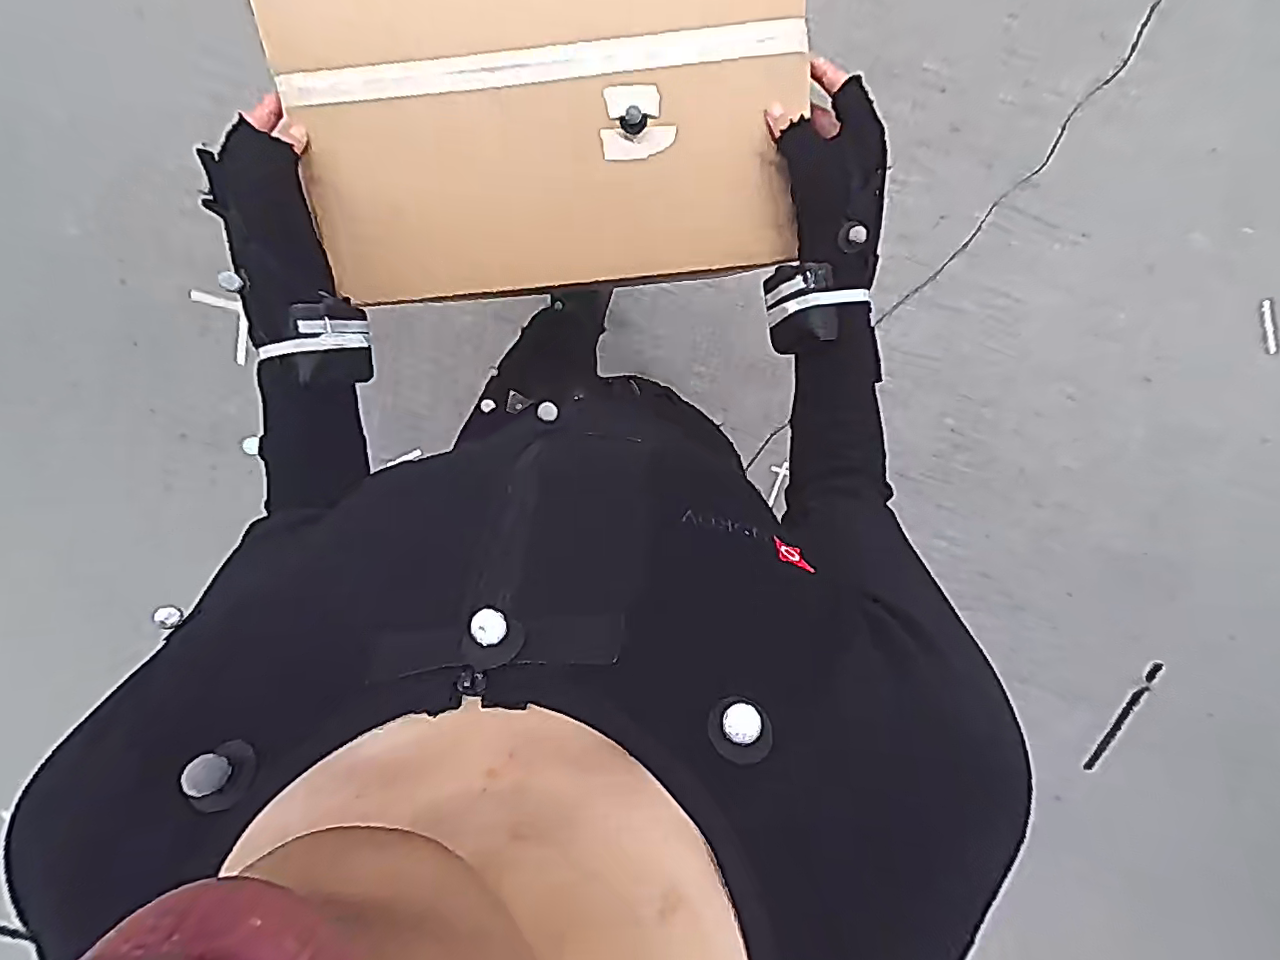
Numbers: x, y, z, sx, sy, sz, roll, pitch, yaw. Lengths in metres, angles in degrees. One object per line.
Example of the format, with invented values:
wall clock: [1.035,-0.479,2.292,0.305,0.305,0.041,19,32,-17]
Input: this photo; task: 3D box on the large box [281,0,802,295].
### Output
large box: [-0.077,-0.379,0.566,0.408,0.320,0.320,-5,109,0]
